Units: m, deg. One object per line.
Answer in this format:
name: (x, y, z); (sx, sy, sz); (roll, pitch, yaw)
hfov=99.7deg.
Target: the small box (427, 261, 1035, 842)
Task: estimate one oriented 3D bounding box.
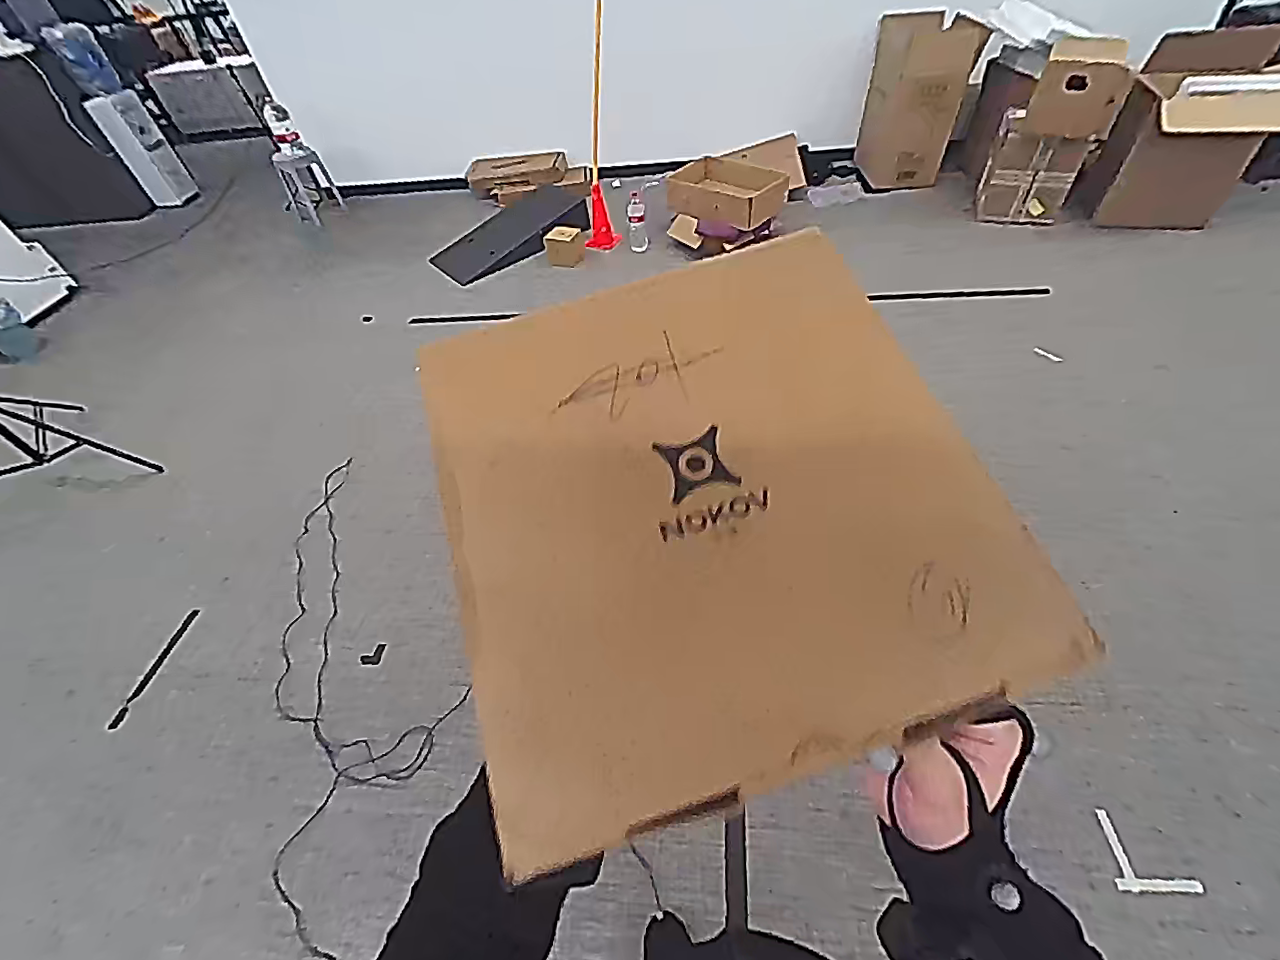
small box: (0.021, 0.037, 0.260); (0.168, 0.176, 0.179); (-18, 62, -5)
